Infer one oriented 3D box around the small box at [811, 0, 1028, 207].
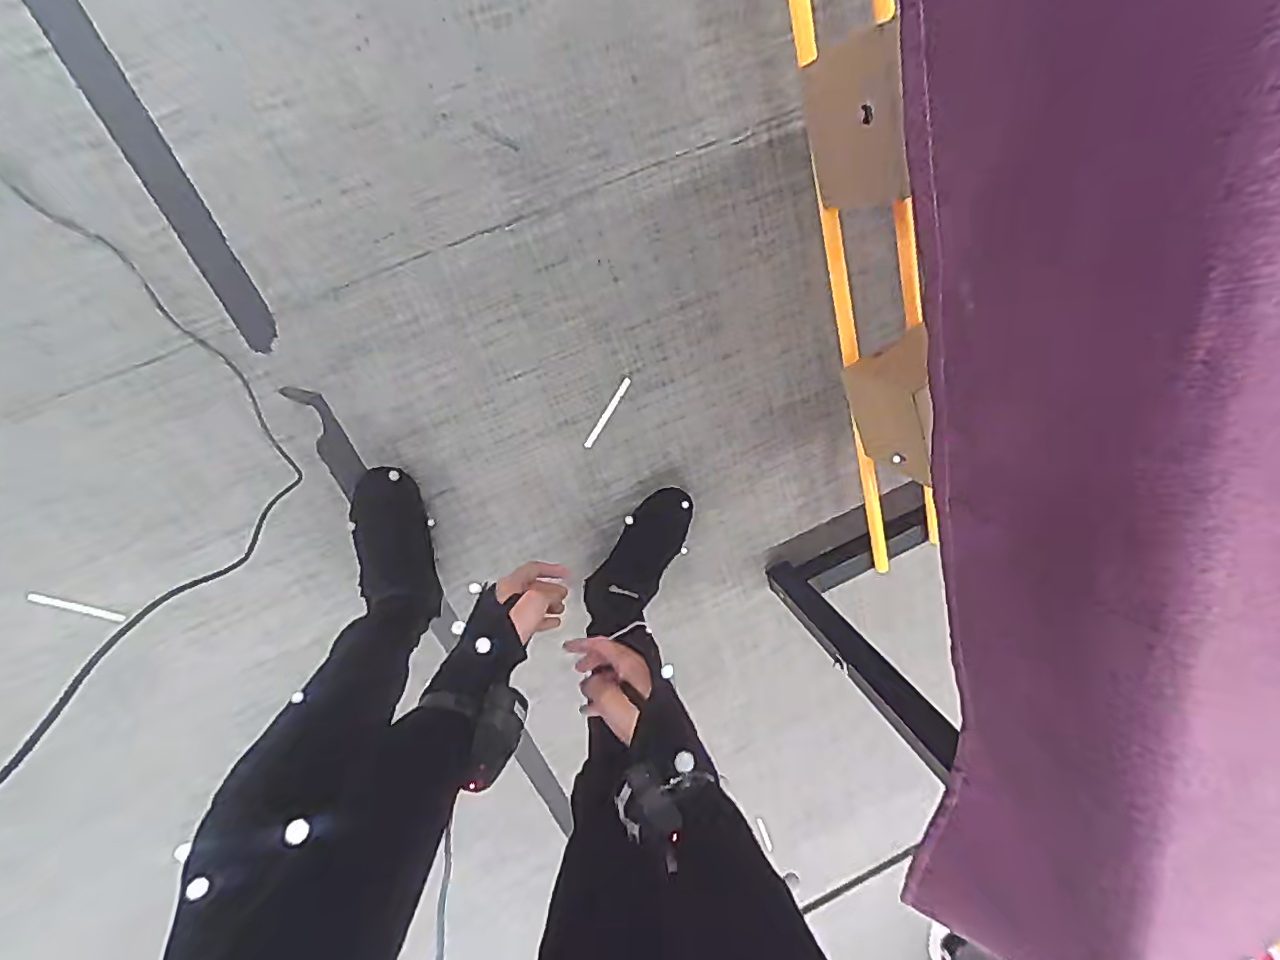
[{"bbox_3d":[0.333,-0.457,0.663,0.168,0.176,0.179,-26,118,-4],"label":"small box"}]
